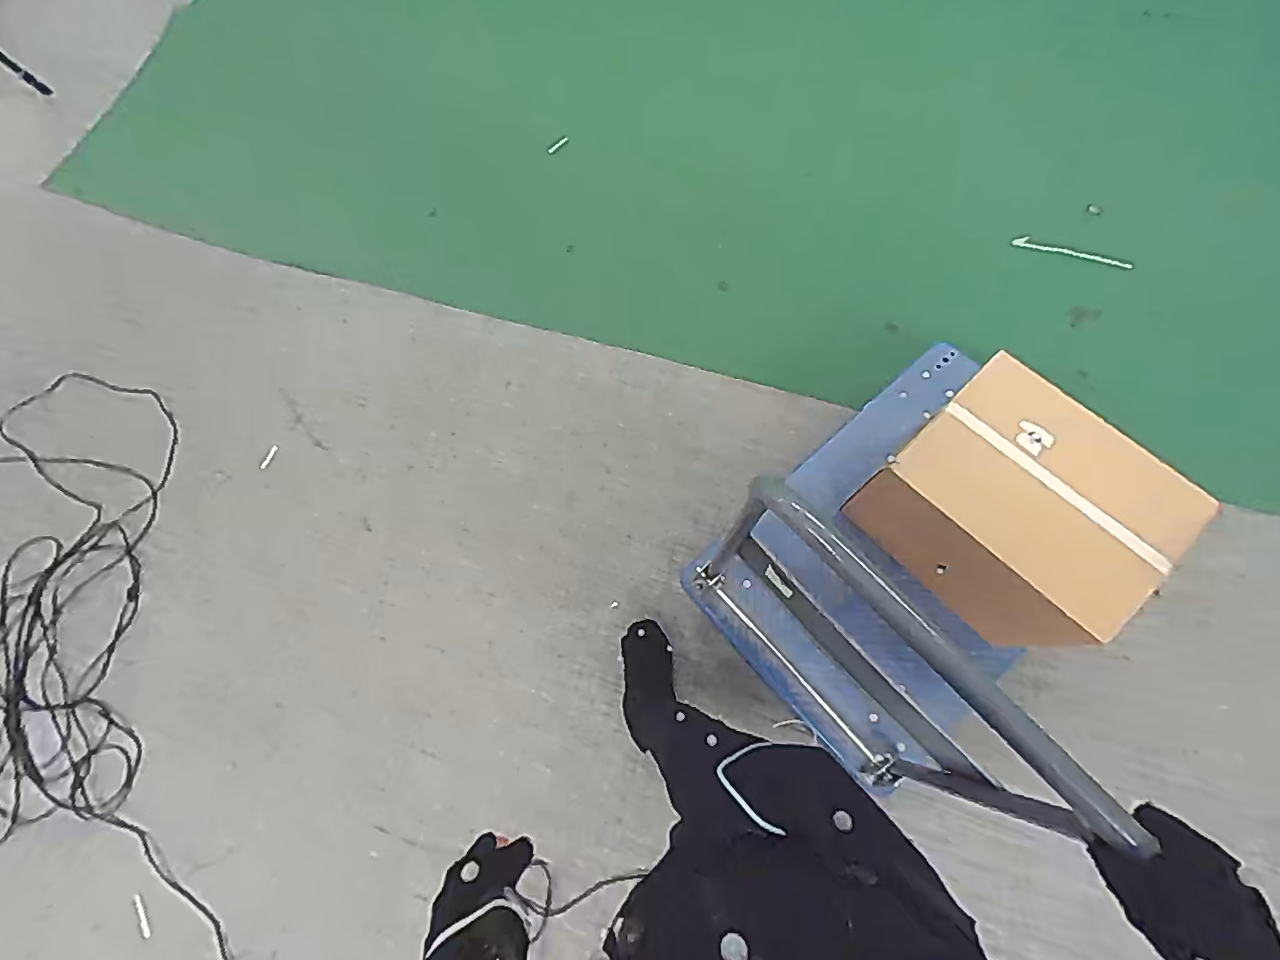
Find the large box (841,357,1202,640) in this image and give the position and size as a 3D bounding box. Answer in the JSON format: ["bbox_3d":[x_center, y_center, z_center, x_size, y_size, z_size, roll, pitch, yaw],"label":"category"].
[{"bbox_3d":[0.675,0.053,1.040,0.320,0.320,0.408,-43,73,-10],"label":"large box"}]
